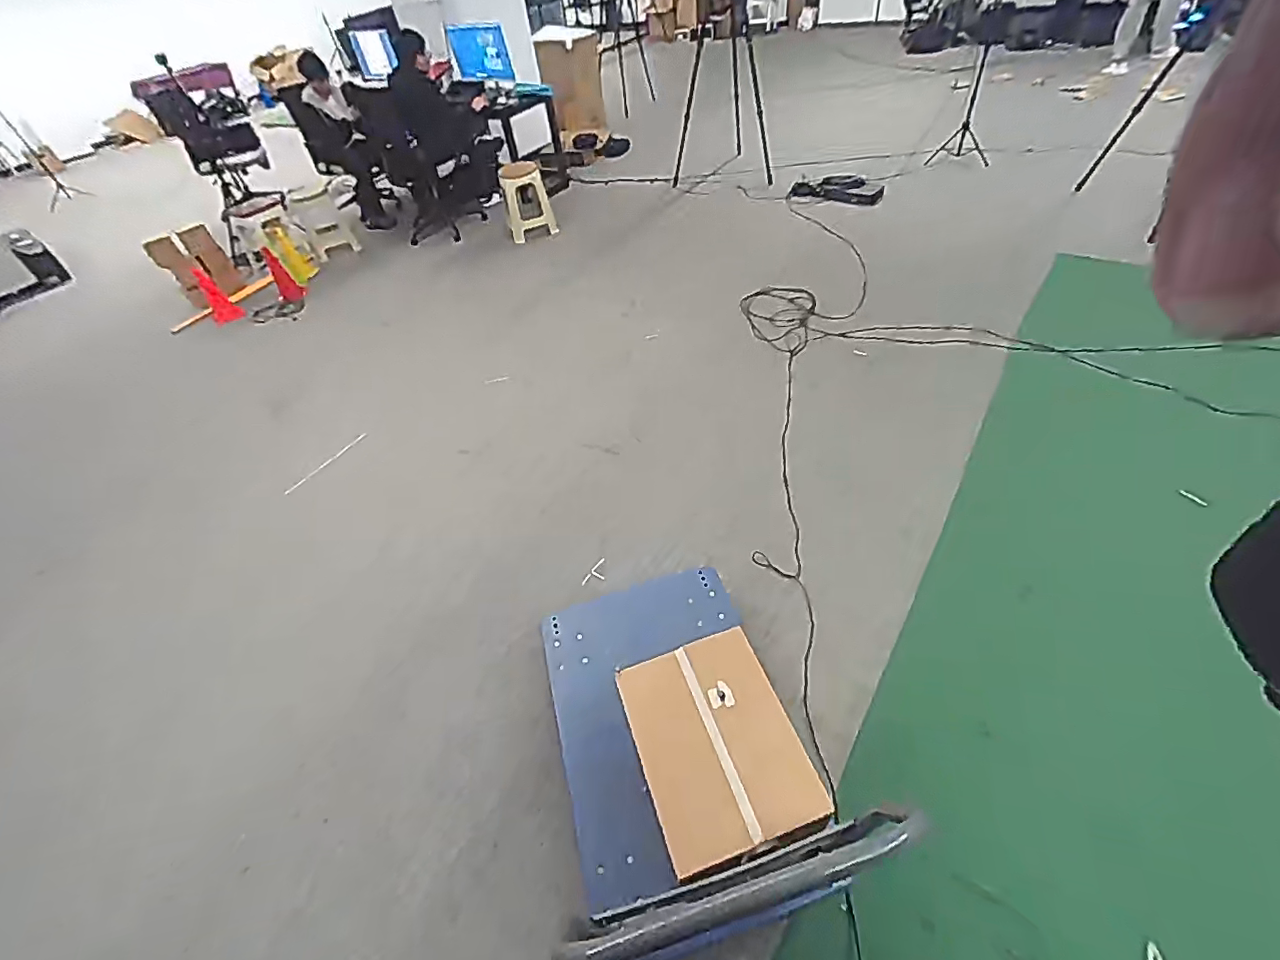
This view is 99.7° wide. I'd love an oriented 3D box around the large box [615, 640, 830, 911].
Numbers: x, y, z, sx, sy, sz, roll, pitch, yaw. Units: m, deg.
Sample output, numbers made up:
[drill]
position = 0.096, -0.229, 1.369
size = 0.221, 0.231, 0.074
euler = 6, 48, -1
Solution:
[large box]
position = 0.168, 0.653, 1.217
size = 0.320, 0.320, 0.408
euler = -18, 45, -9
